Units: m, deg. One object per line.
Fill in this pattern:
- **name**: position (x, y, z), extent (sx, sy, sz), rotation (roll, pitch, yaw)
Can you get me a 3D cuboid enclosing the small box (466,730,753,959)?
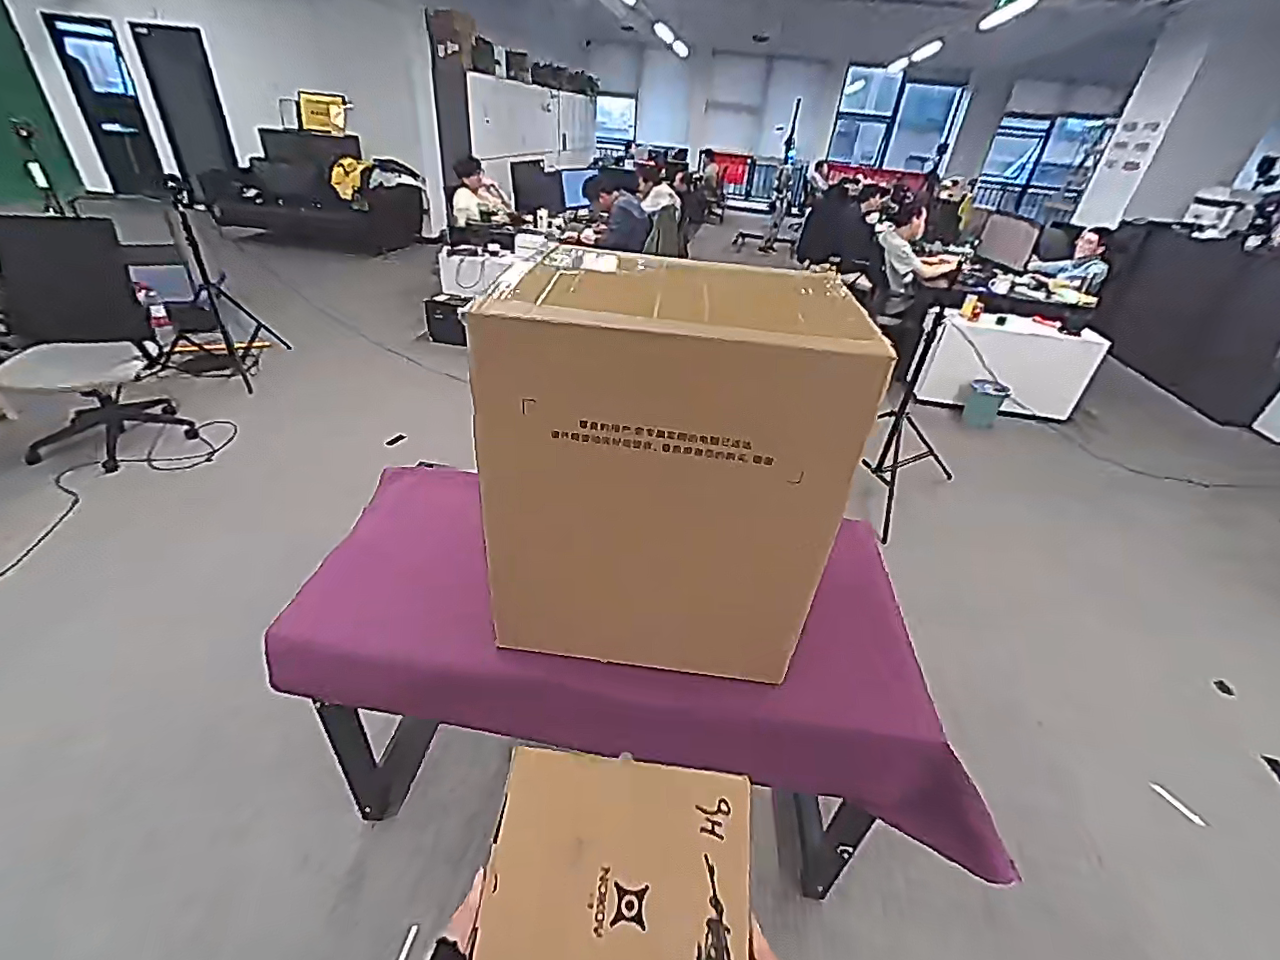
- **small box**: position (-0.018, 0.306, 0.417), extent (0.179, 0.176, 0.168), rotation (8, 57, 0)
